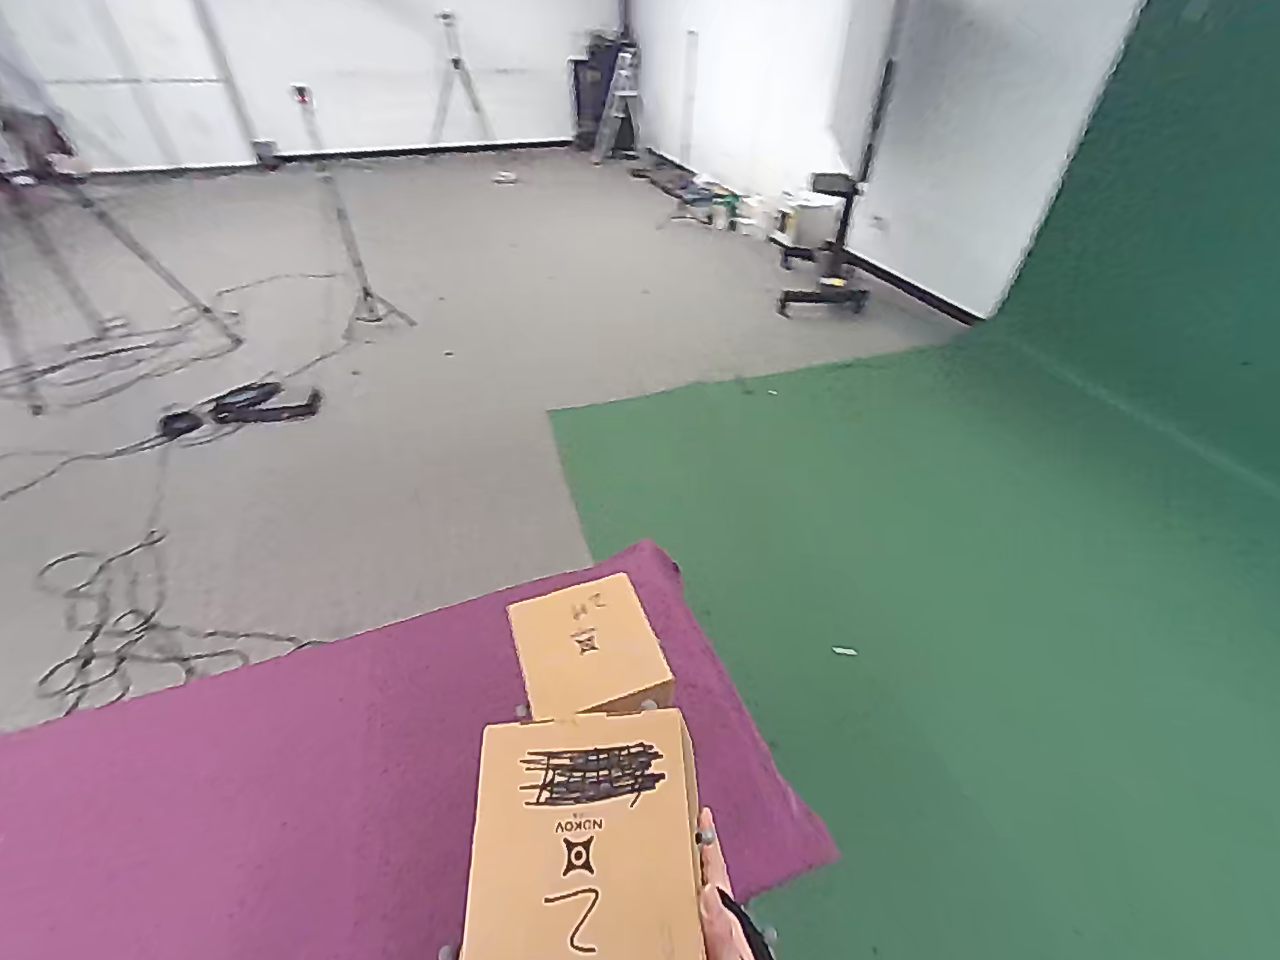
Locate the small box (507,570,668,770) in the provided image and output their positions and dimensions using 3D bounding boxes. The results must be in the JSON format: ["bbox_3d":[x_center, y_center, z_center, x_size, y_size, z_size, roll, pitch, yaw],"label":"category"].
[{"bbox_3d":[-0.069,0.255,0.719,0.168,0.176,0.179,-13,42,-15],"label":"small box"}]

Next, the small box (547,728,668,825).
[{"bbox_3d":[-0.067,0.381,0.826,0.168,0.176,0.179,-16,42,-16],"label":"small box"}]
